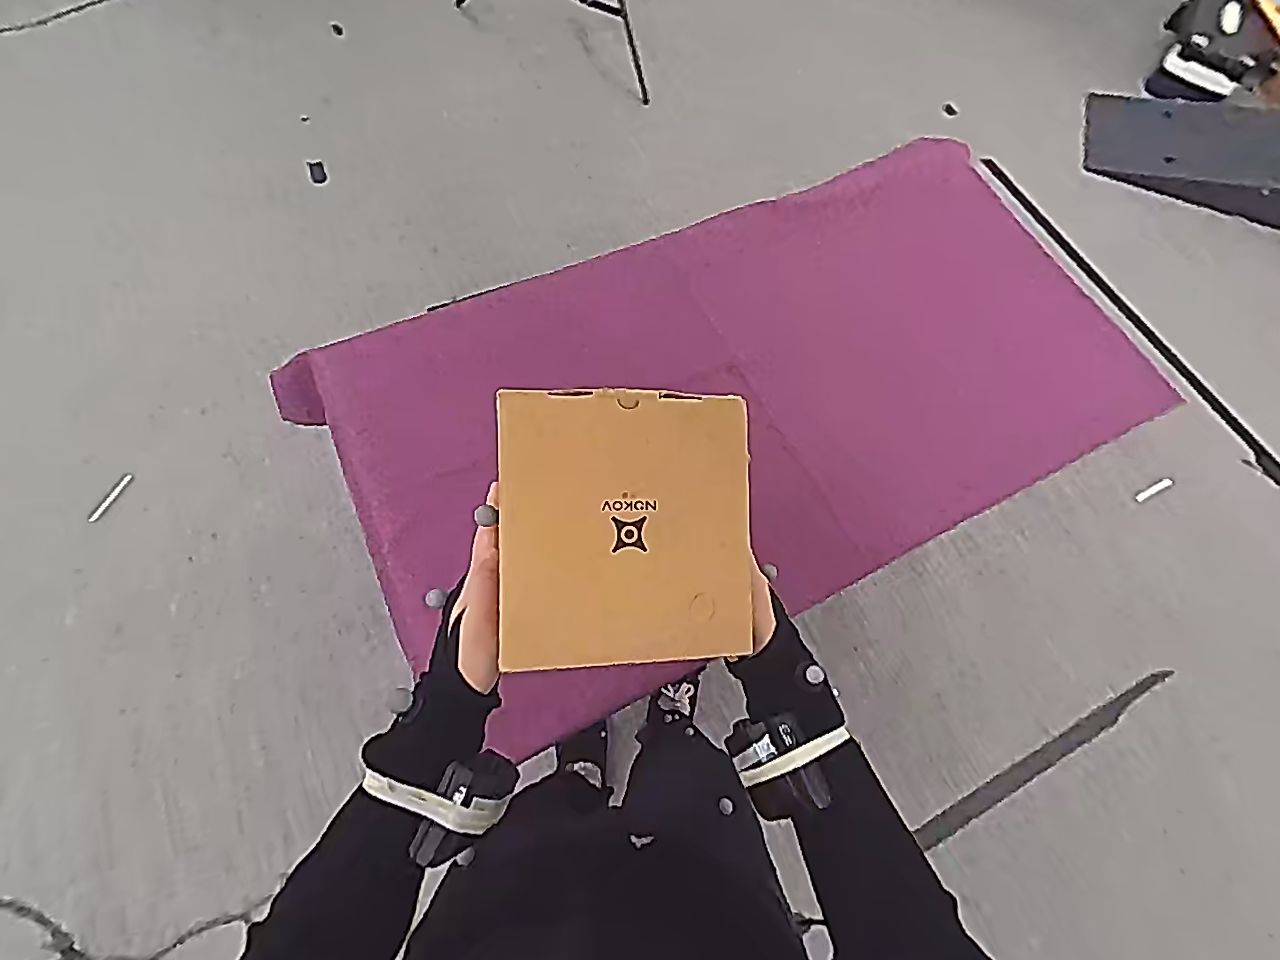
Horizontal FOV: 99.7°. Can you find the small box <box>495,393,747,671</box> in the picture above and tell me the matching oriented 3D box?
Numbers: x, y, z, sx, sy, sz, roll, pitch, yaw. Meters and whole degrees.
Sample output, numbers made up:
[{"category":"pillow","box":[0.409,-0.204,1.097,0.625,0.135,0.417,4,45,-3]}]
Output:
[{"category":"small box","box":[-0.023,0.037,0.429,0.168,0.176,0.179,0,86,-11]}]
